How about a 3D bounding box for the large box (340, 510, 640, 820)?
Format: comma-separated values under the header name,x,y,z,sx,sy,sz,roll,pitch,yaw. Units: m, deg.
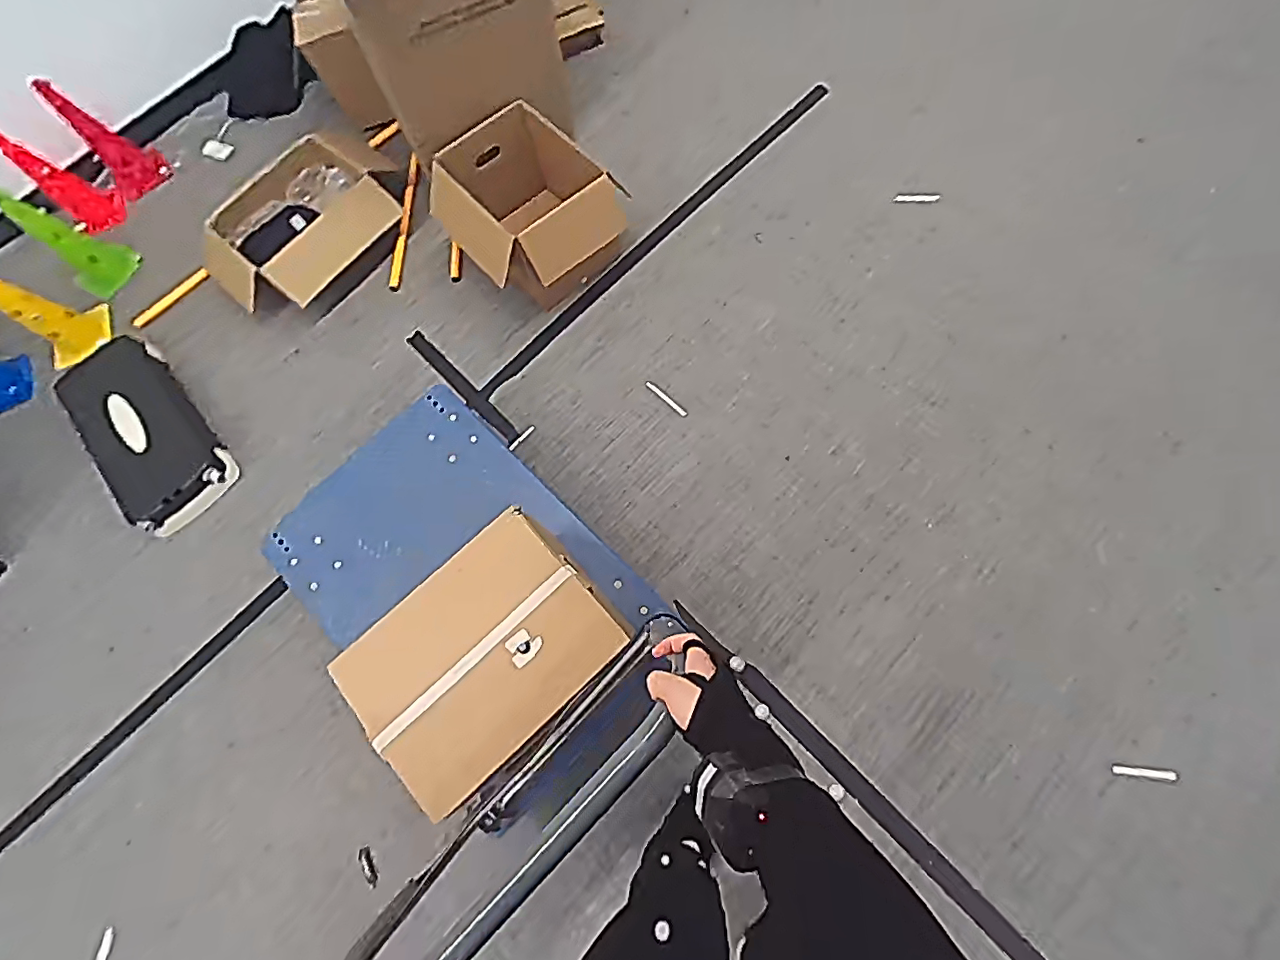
name,x,y,z,sx,sy,sz,roll,pitch,yaw
large box,-0.251,0.331,1.034,0.408,0.320,0.320,-42,77,-9
